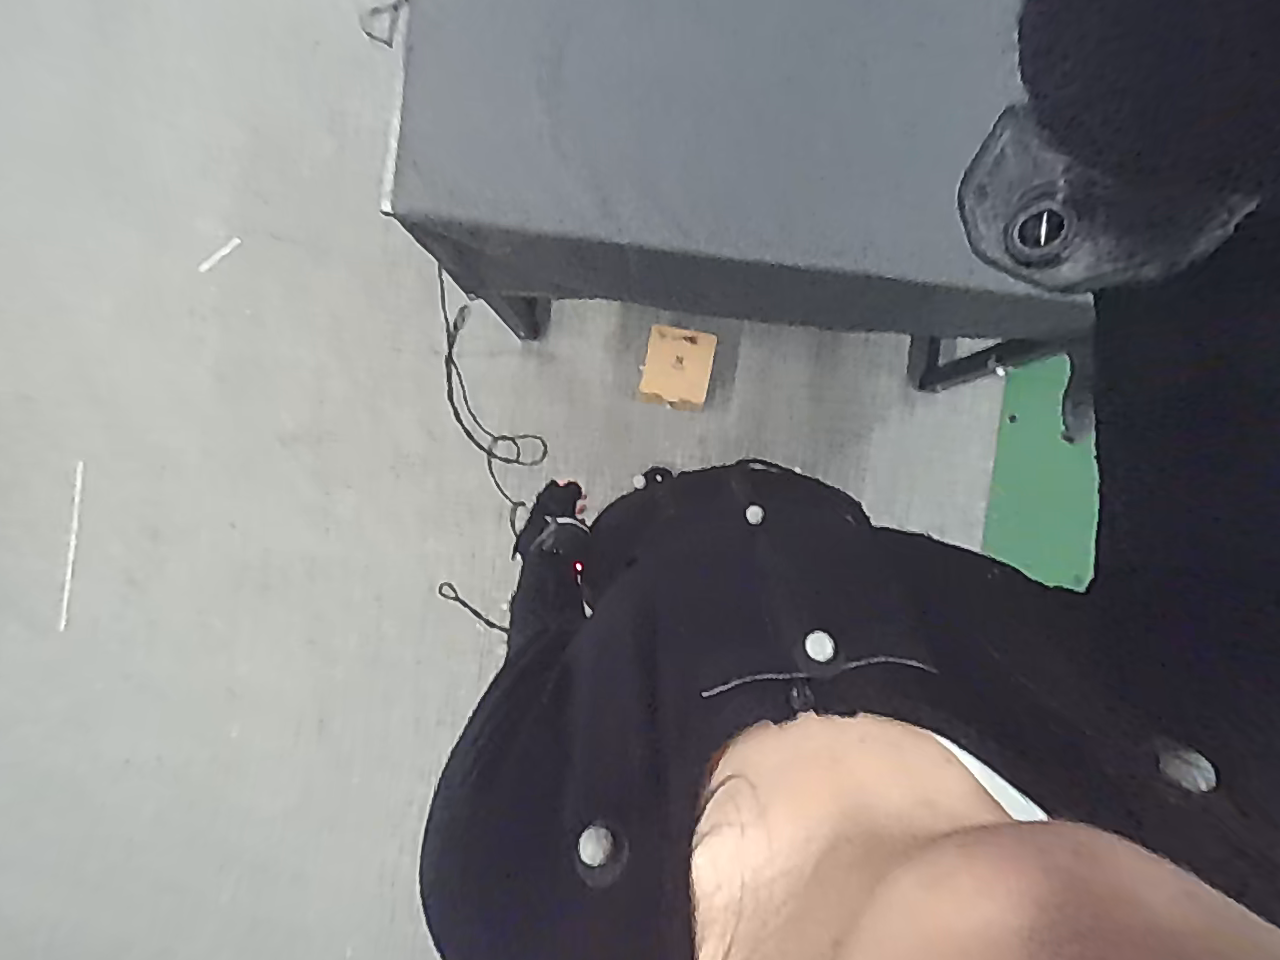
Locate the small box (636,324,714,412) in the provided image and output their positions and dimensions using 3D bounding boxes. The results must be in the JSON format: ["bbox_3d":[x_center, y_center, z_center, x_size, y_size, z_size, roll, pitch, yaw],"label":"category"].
[{"bbox_3d":[0.088,-0.281,1.401,0.168,0.176,0.179,12,90,1],"label":"small box"}]
